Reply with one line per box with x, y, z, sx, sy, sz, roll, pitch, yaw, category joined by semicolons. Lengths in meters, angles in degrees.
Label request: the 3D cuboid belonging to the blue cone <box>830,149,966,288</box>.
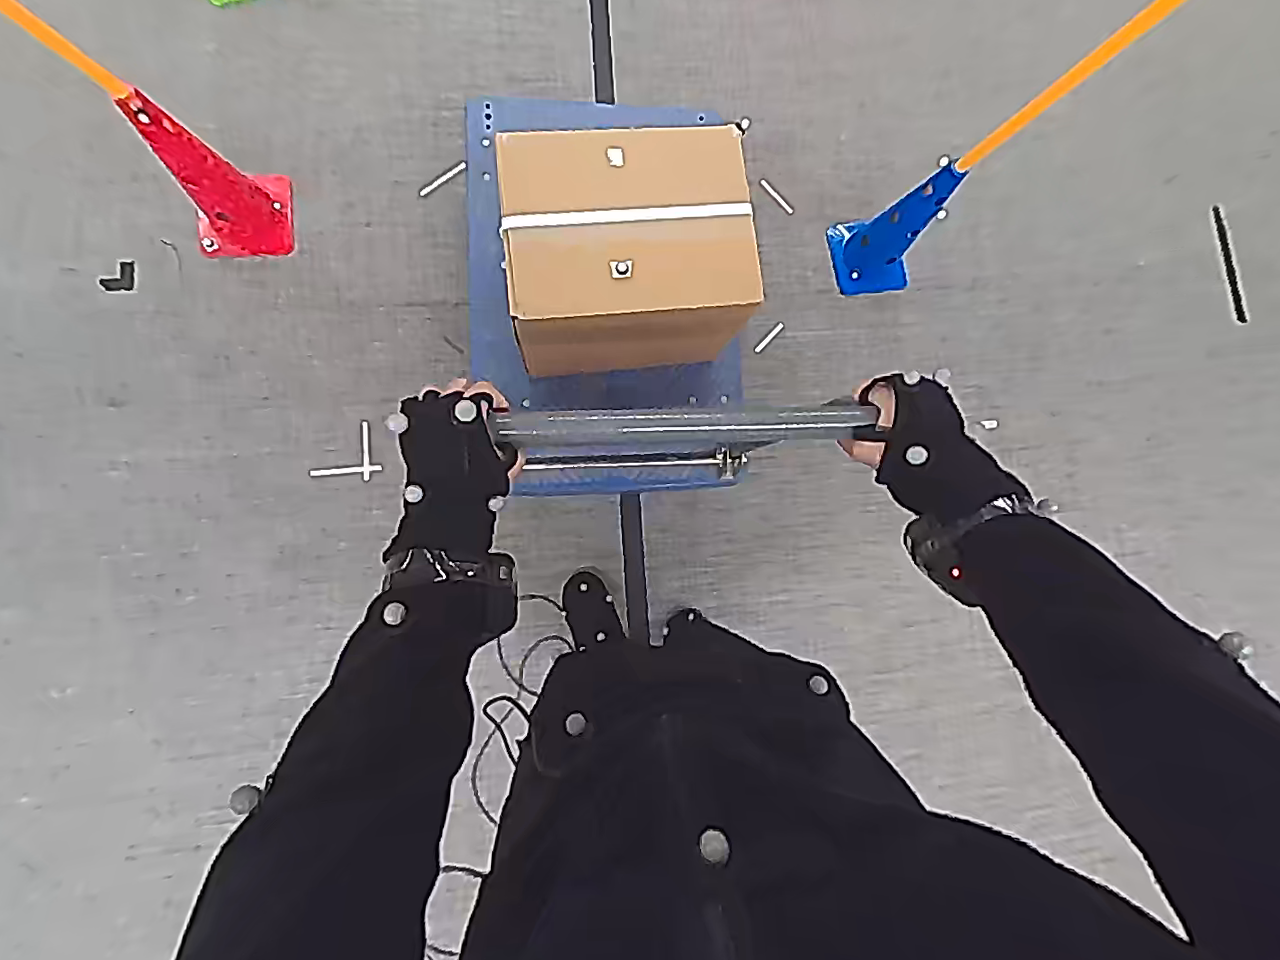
0.633;-0.629;1.290;0.193;0.380;0.192;-8;83;-8;blue cone
